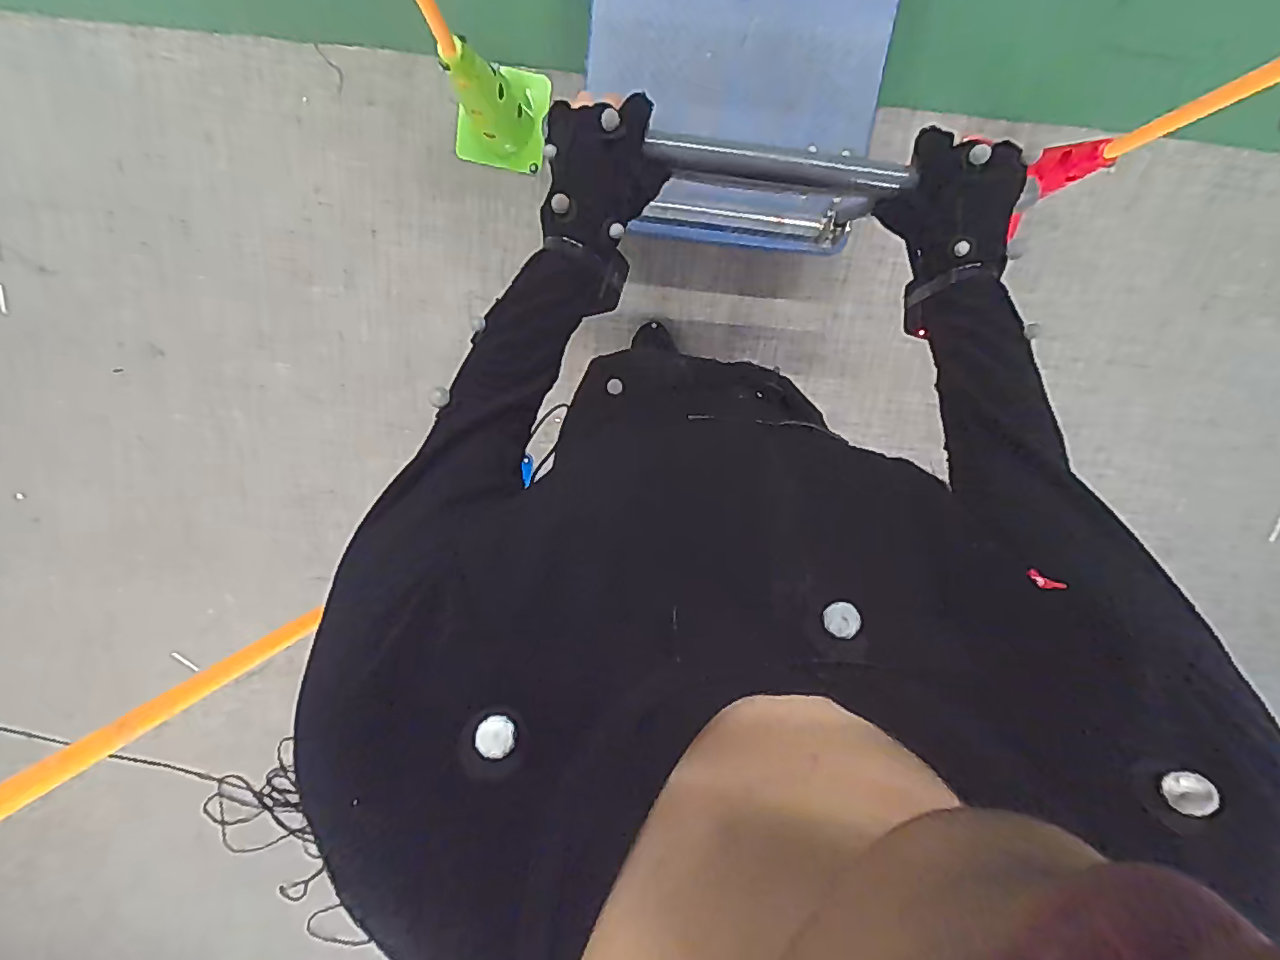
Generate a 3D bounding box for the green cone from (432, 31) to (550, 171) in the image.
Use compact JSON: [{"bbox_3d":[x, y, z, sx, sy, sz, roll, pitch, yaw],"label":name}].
[{"bbox_3d":[-0.317,-0.779,1.068,0.202,0.368,0.200,11,107,-2],"label":"green cone"}]
